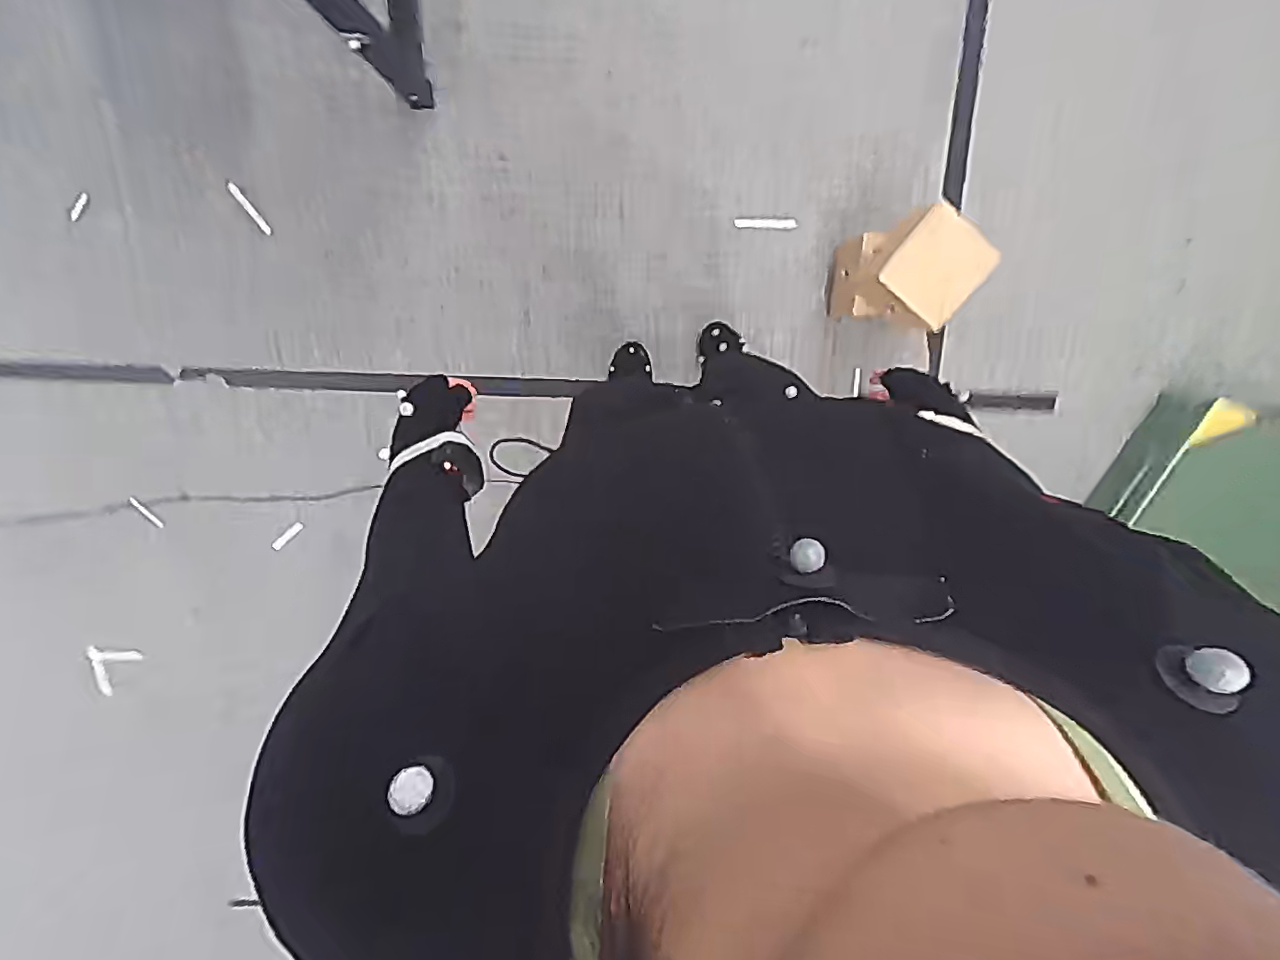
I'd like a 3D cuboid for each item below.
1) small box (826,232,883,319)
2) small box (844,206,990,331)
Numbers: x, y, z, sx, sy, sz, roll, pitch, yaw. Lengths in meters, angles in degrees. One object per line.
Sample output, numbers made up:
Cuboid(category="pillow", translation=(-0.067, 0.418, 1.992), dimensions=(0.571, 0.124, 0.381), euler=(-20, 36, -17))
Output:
Cuboid(category="small box", translation=(0.559, -0.480, 1.292), dimensions=(0.168, 0.176, 0.179), euler=(3, 105, -1))
Cuboid(category="small box", translation=(0.571, -0.435, 1.130), dimensions=(0.168, 0.176, 0.179), euler=(37, 102, -10))
